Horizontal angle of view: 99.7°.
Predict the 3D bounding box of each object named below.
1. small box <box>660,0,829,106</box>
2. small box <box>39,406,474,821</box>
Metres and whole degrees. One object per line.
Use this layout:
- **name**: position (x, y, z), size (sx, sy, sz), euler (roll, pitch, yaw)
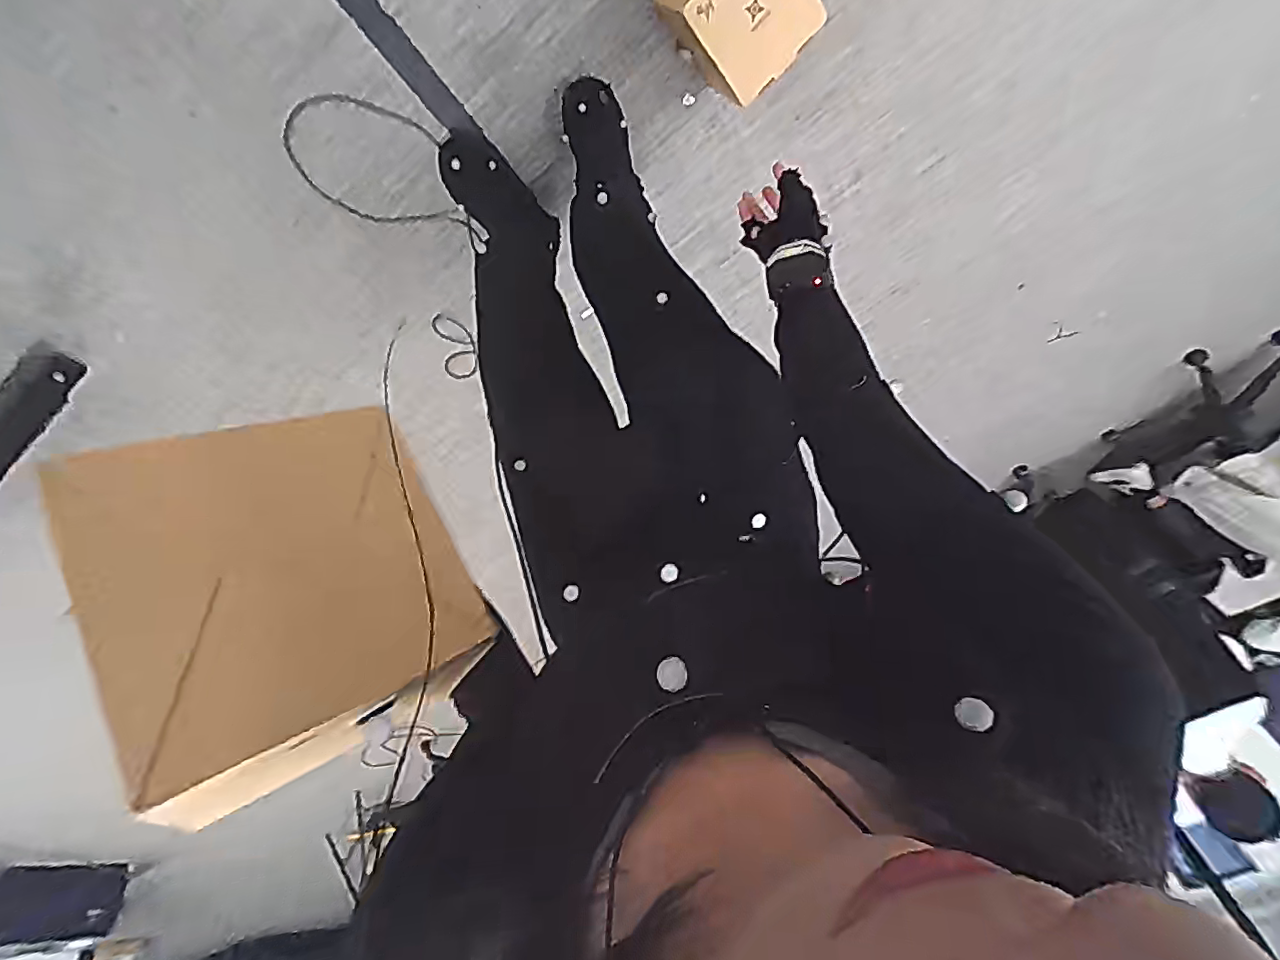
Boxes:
- **small box**: position (0.157, -0.747, 0.849), size (0.168, 0.176, 0.179), euler (-40, 134, 23)
- **small box**: position (-0.223, 0.077, 0.342), size (0.168, 0.179, 0.176), euler (-20, 160, -37)
